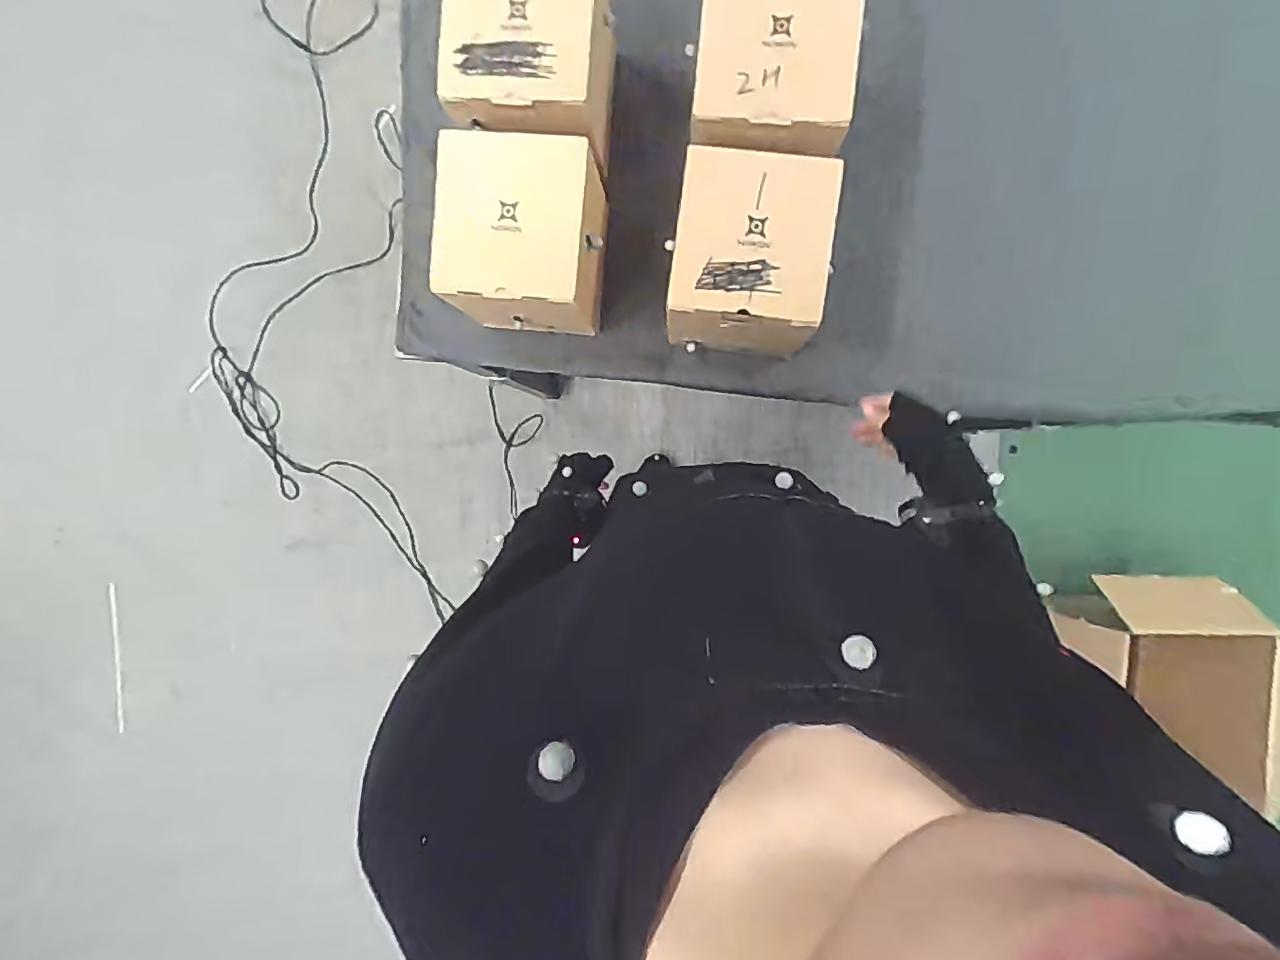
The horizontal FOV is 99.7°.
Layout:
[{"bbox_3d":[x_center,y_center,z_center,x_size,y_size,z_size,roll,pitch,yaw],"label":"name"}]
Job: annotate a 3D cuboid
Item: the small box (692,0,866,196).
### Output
[{"bbox_3d":[0.152,-0.468,0.637,0.168,0.176,0.179,6,93,4],"label":"small box"}]
